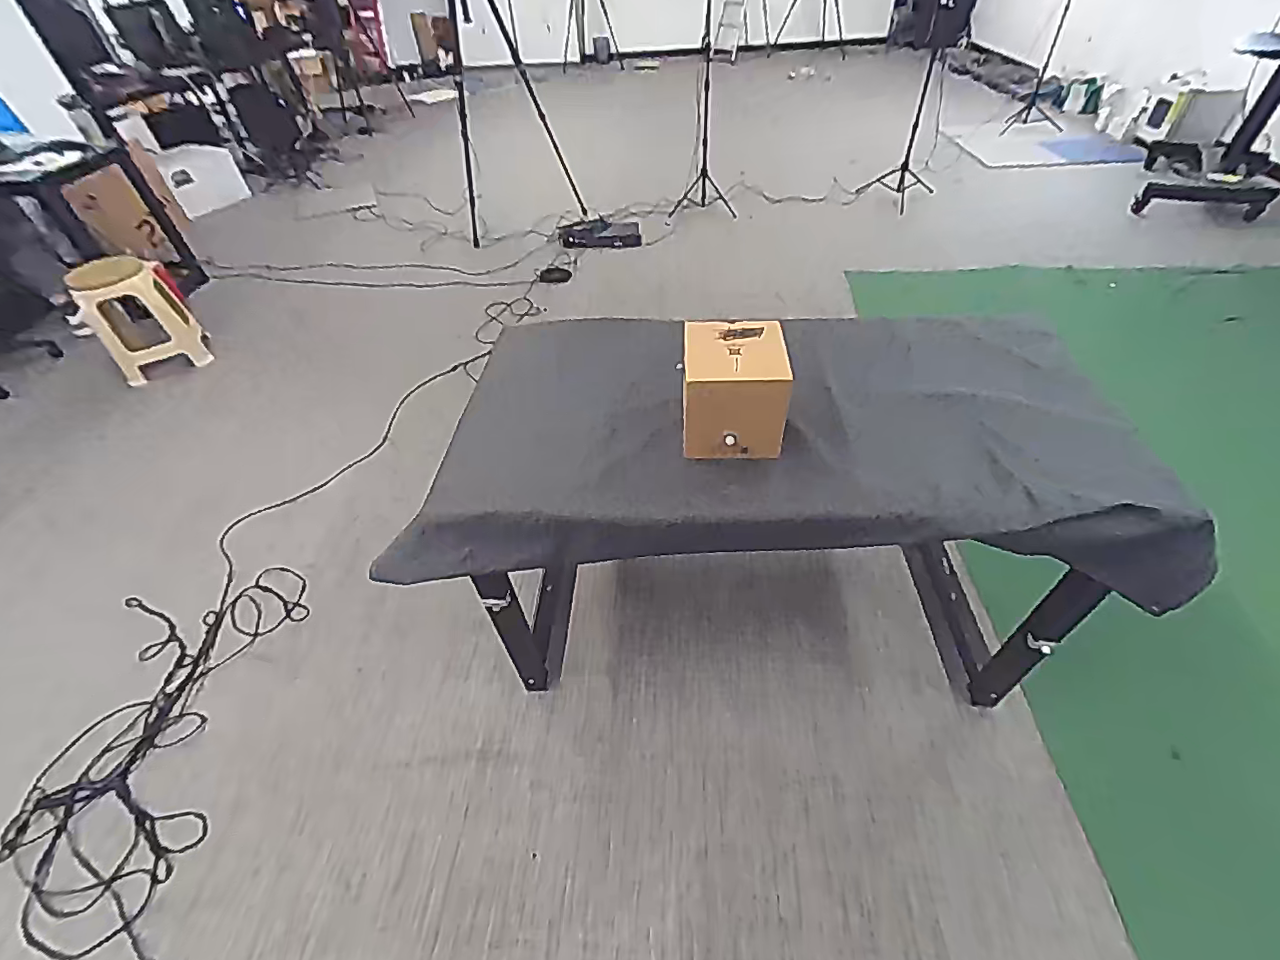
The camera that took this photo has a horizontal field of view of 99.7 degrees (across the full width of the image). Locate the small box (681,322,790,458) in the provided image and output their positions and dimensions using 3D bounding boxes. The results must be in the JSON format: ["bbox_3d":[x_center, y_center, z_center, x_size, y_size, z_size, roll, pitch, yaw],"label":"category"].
[{"bbox_3d":[0.157,-0.159,0.947,0.168,0.176,0.179,0,46,4],"label":"small box"}]
